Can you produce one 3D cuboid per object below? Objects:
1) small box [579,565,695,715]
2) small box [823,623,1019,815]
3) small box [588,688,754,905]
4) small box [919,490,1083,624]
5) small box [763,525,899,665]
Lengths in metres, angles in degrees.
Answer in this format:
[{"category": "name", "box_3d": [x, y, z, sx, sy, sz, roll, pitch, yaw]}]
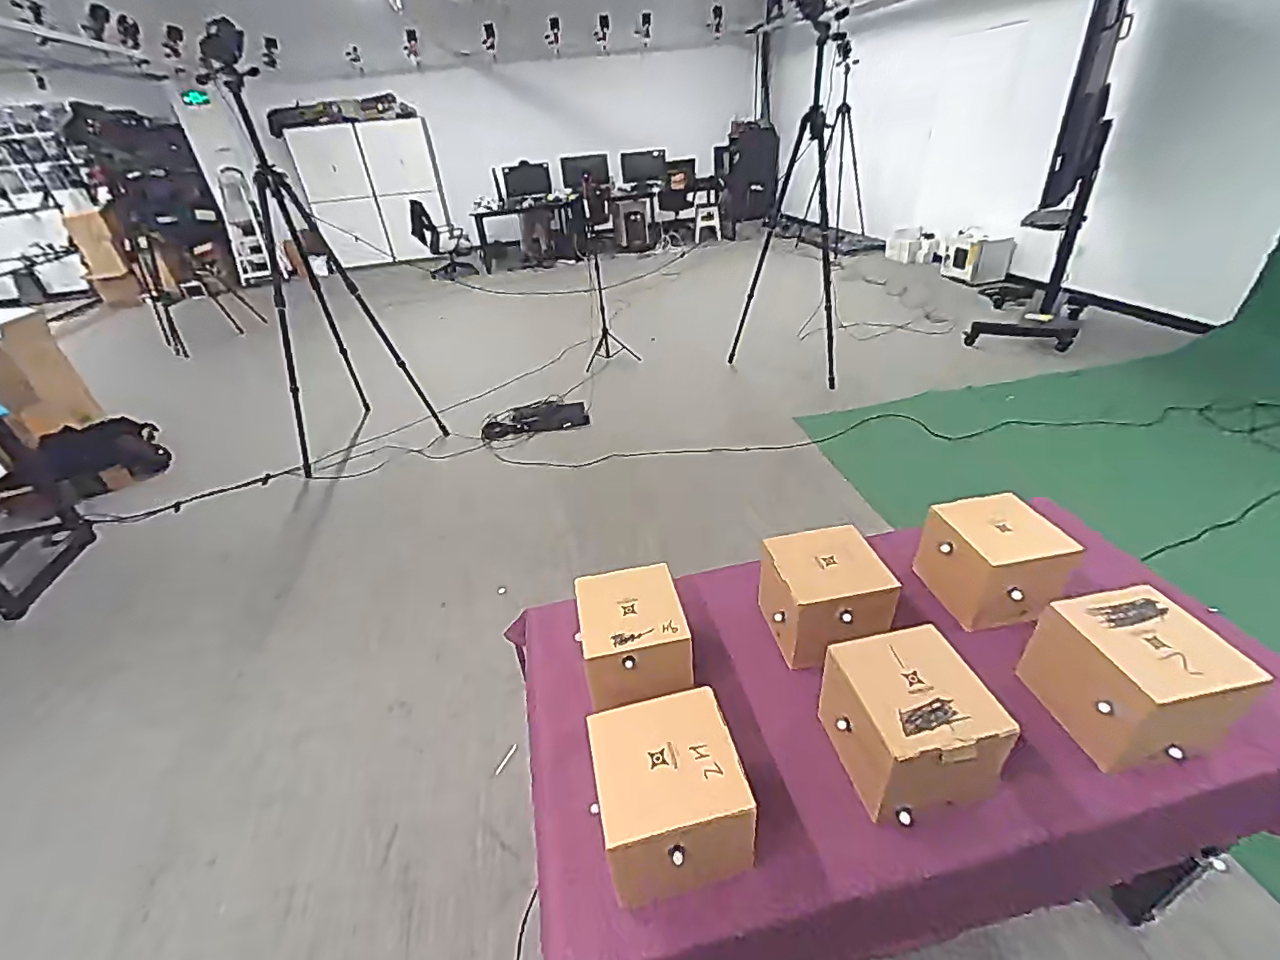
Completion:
[{"category": "small box", "box_3d": [-0.007, 0.275, 0.918, 0.168, 0.176, 0.179, -10, 33, -6]}, {"category": "small box", "box_3d": [0.373, 0.336, 0.755, 0.168, 0.176, 0.179, -10, 32, -6]}, {"category": "small box", "box_3d": [0.040, 0.409, 0.702, 0.179, 0.176, 0.168, -11, 33, -7]}, {"category": "small box", "box_3d": [0.649, 0.146, 0.997, 0.168, 0.176, 0.179, -10, 32, -4]}, {"category": "small box", "box_3d": [0.328, 0.206, 0.964, 0.179, 0.176, 0.168, -9, 34, -4]}]
